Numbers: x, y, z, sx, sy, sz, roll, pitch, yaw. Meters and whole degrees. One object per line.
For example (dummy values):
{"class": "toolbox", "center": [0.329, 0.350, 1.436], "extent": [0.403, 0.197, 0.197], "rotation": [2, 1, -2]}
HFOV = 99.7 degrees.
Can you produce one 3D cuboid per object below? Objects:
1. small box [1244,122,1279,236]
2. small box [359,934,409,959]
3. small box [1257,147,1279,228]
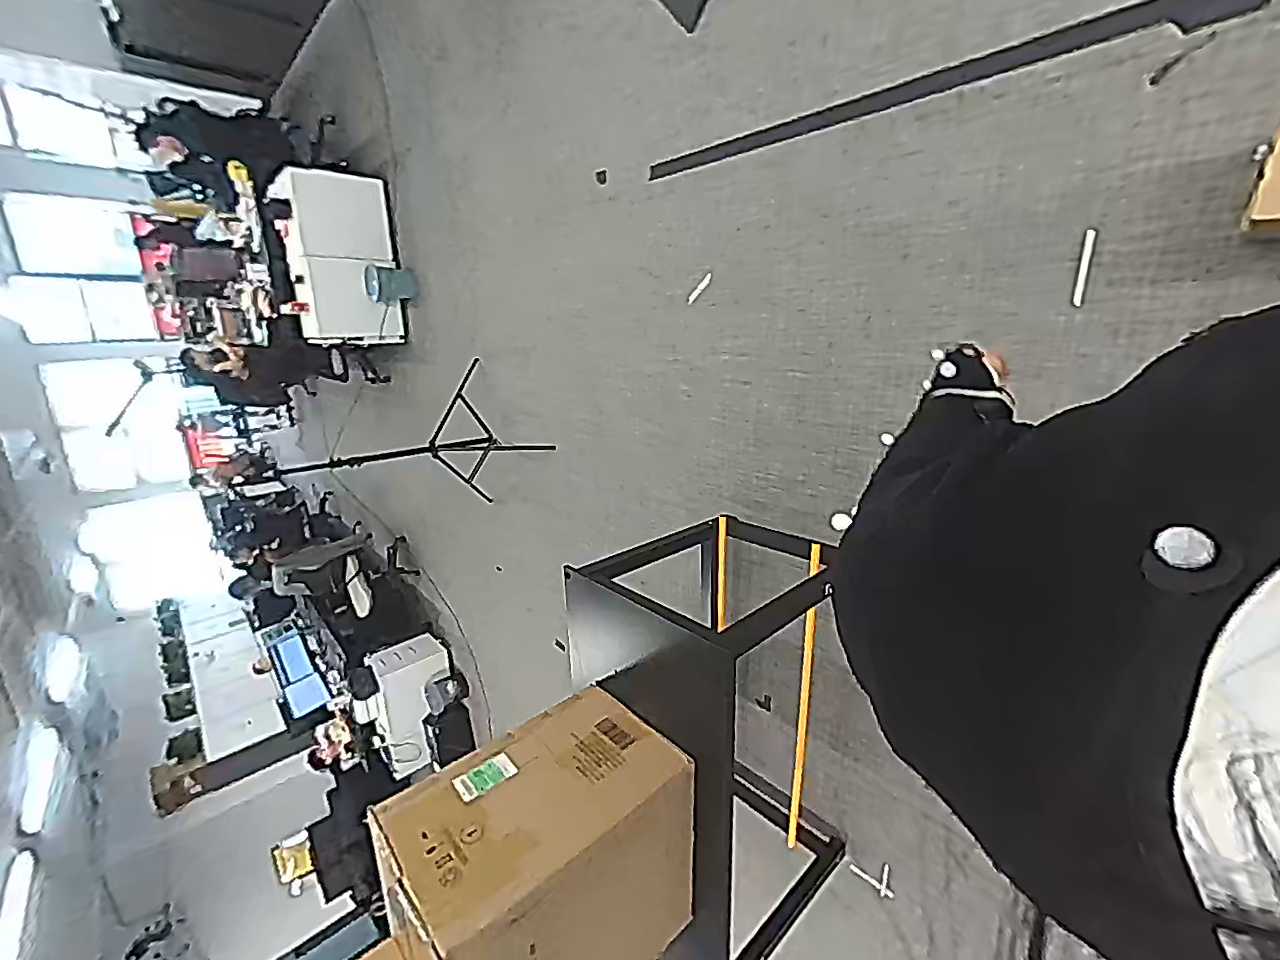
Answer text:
{"class": "small box", "center": [1.095, -0.478, 0.839], "extent": [0.179, 0.176, 0.168], "rotation": [20, 117, 43]}
{"class": "small box", "center": [-0.566, 1.146, 1.156], "extent": [0.179, 0.176, 0.168], "rotation": [16, 113, 46]}
{"class": "small box", "center": [0.979, -0.447, 0.726], "extent": [0.168, 0.176, 0.179], "rotation": [21, 117, 44]}
